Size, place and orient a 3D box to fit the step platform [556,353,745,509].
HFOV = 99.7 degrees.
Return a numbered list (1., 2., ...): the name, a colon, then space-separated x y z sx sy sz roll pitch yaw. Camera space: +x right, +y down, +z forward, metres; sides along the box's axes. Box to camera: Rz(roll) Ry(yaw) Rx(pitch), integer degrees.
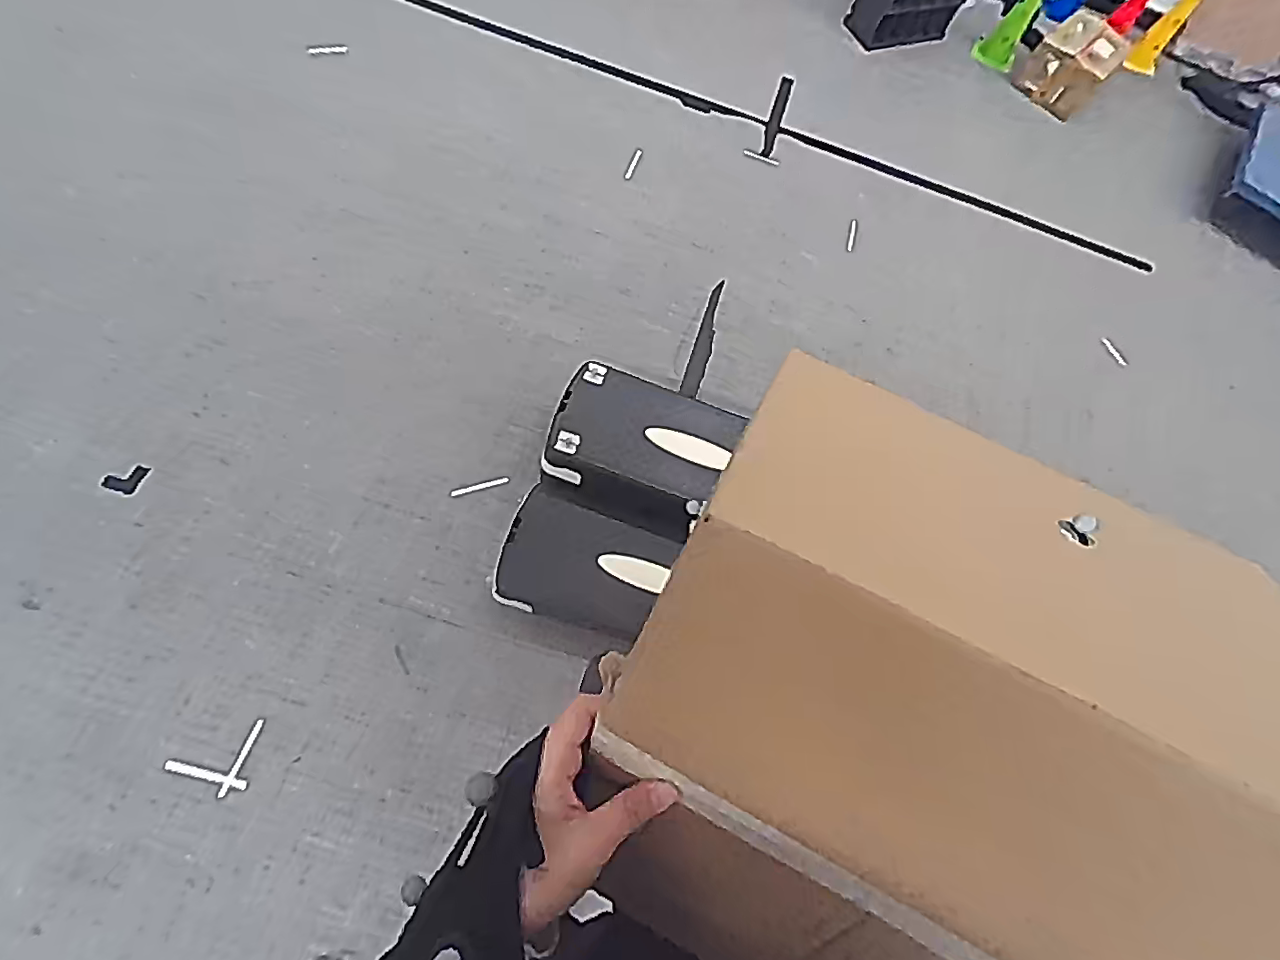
1. step platform: 0.144 -0.041 1.325 0.684 0.204 0.286 25 65 -1
